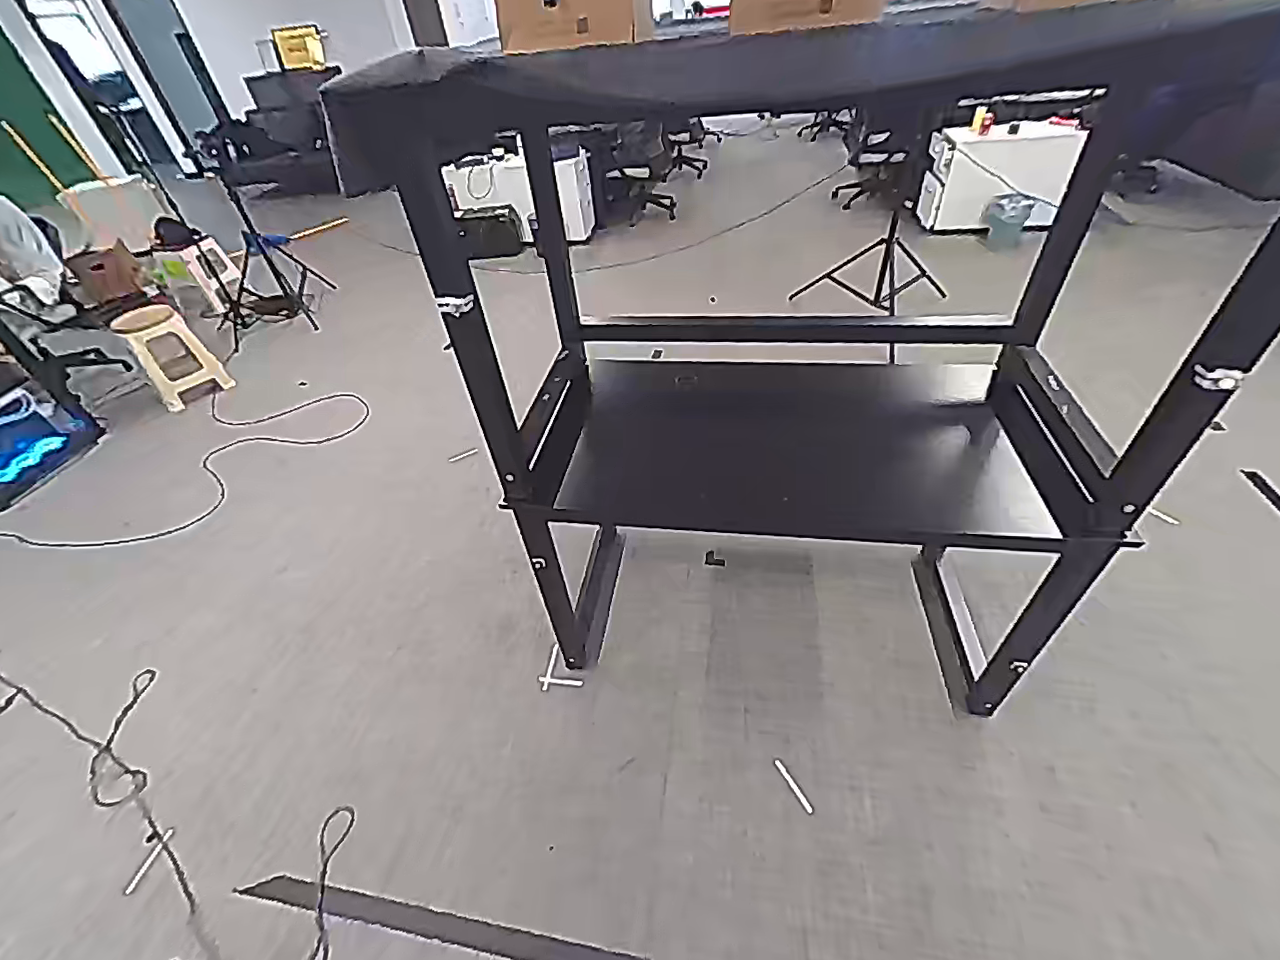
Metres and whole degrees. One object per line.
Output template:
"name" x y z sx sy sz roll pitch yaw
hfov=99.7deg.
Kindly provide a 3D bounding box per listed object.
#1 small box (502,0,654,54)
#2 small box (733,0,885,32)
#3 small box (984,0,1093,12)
"small box" -0.075 -0.631 0.658 0.168 0.176 0.179 3 42 9
"small box" 0.194 -0.620 0.610 0.168 0.176 0.179 3 41 11
"small box" 0.488 -0.607 0.561 0.168 0.176 0.179 6 41 14
